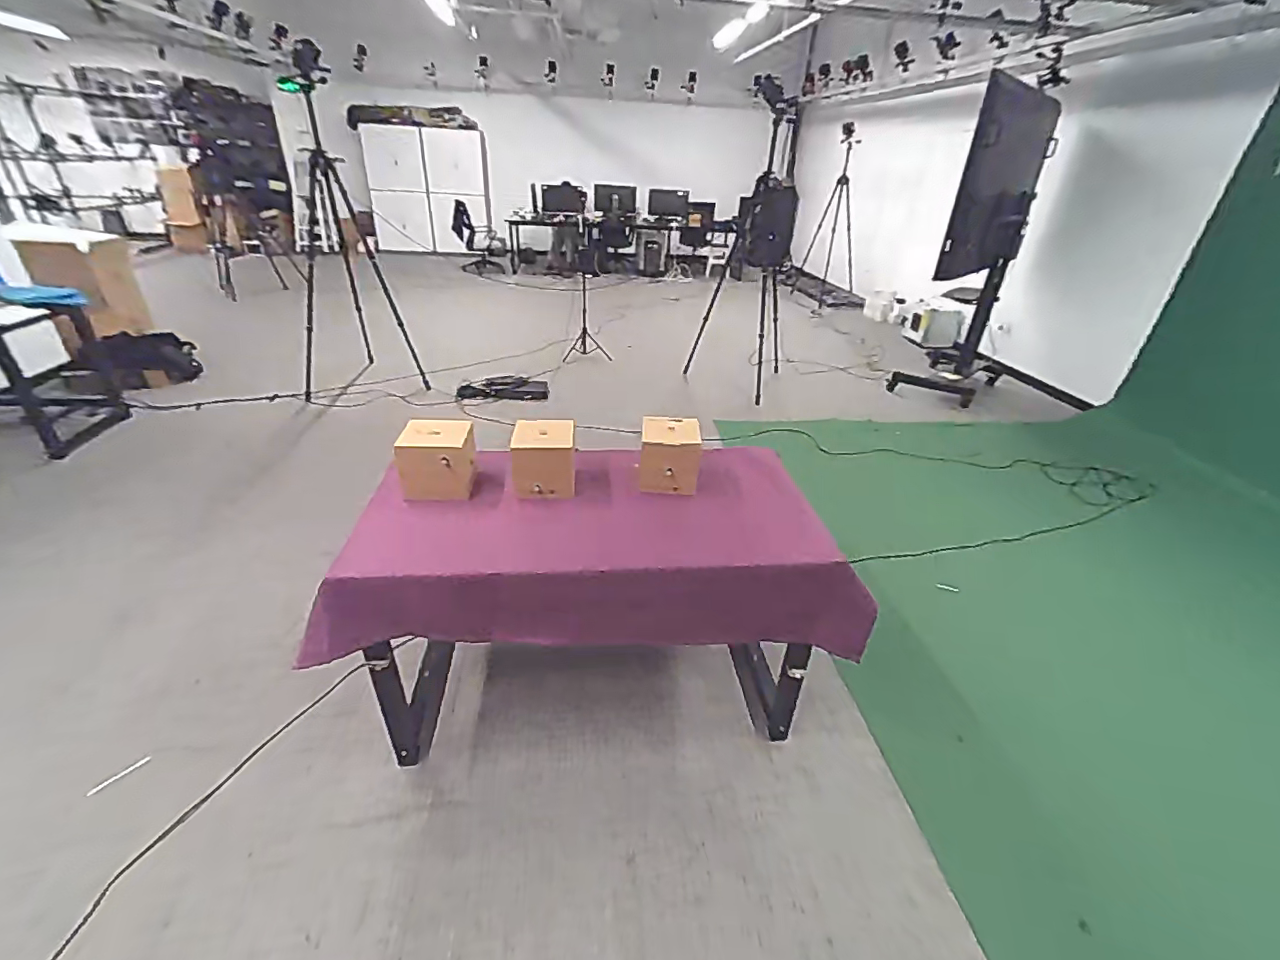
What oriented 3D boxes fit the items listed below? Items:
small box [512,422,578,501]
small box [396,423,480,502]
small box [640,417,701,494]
[{"bbox_3d":[-0.265,-0.054,1.540,0.168,0.176,0.179,-1,31,-4],"label":"small box"},{"bbox_3d":[-0.550,-0.047,1.505,0.179,0.176,0.168,0,30,-5],"label":"small box"},{"bbox_3d":[0.088,-0.071,1.586,0.168,0.176,0.179,3,31,0],"label":"small box"}]
